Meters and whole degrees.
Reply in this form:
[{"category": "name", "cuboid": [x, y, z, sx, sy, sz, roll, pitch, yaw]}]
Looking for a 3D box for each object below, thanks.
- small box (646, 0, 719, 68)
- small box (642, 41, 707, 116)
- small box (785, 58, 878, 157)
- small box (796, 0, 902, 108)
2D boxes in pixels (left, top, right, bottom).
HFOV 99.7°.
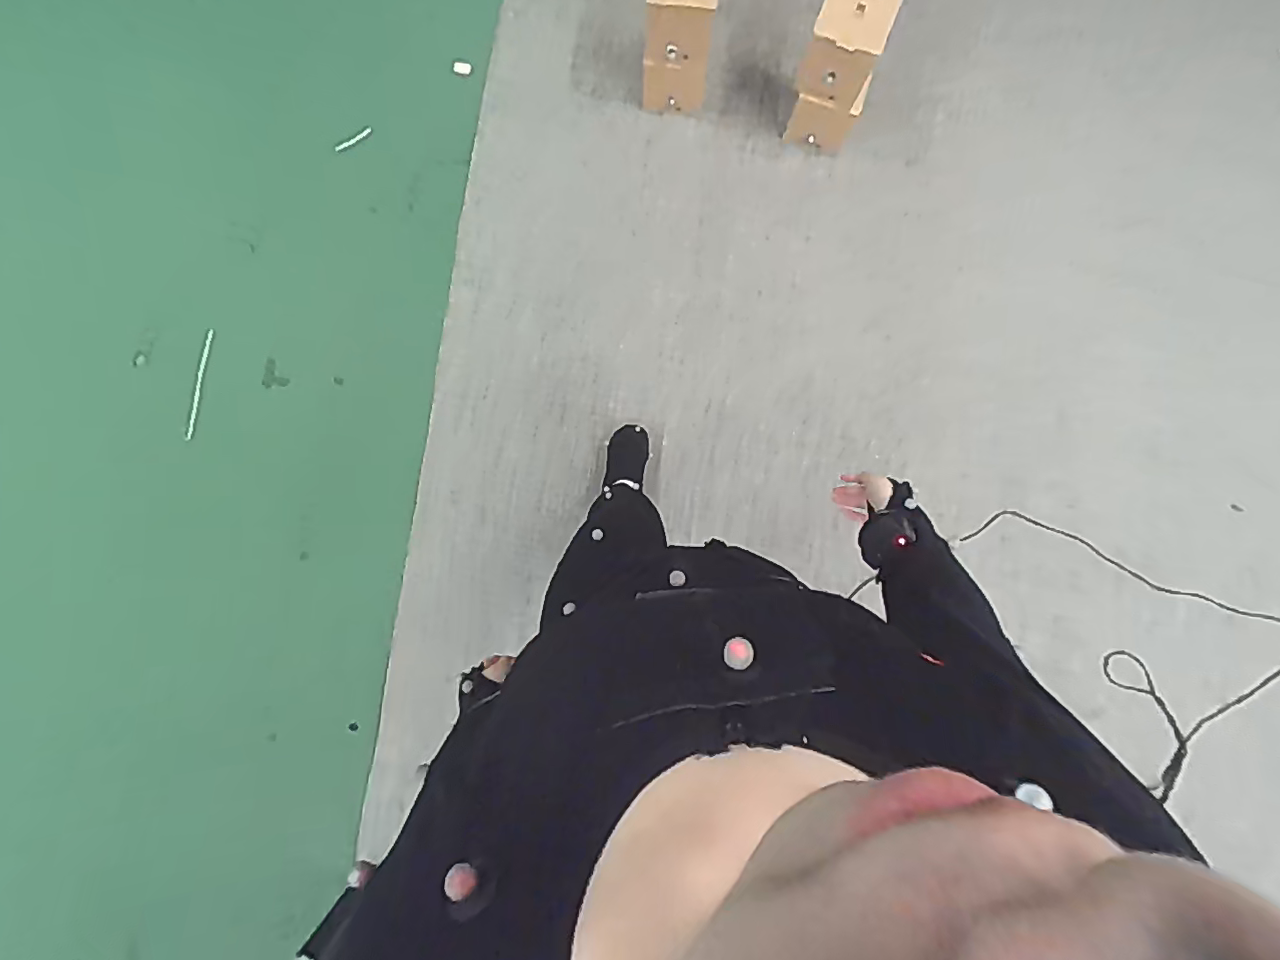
[{"category": "small box", "cuboid": [0.102, -1.149, 1.305, 0.168, 0.176, 0.179, 5, 87, 1]}, {"category": "small box", "cuboid": [0.095, -1.136, 1.466, 0.168, 0.176, 0.179, 4, 87, 0]}, {"category": "small box", "cuboid": [0.509, -1.027, 1.462, 0.168, 0.176, 0.179, 18, 88, 1]}, {"category": "small box", "cuboid": [0.494, -1.051, 1.300, 0.168, 0.176, 0.179, 22, 88, 1]}]
